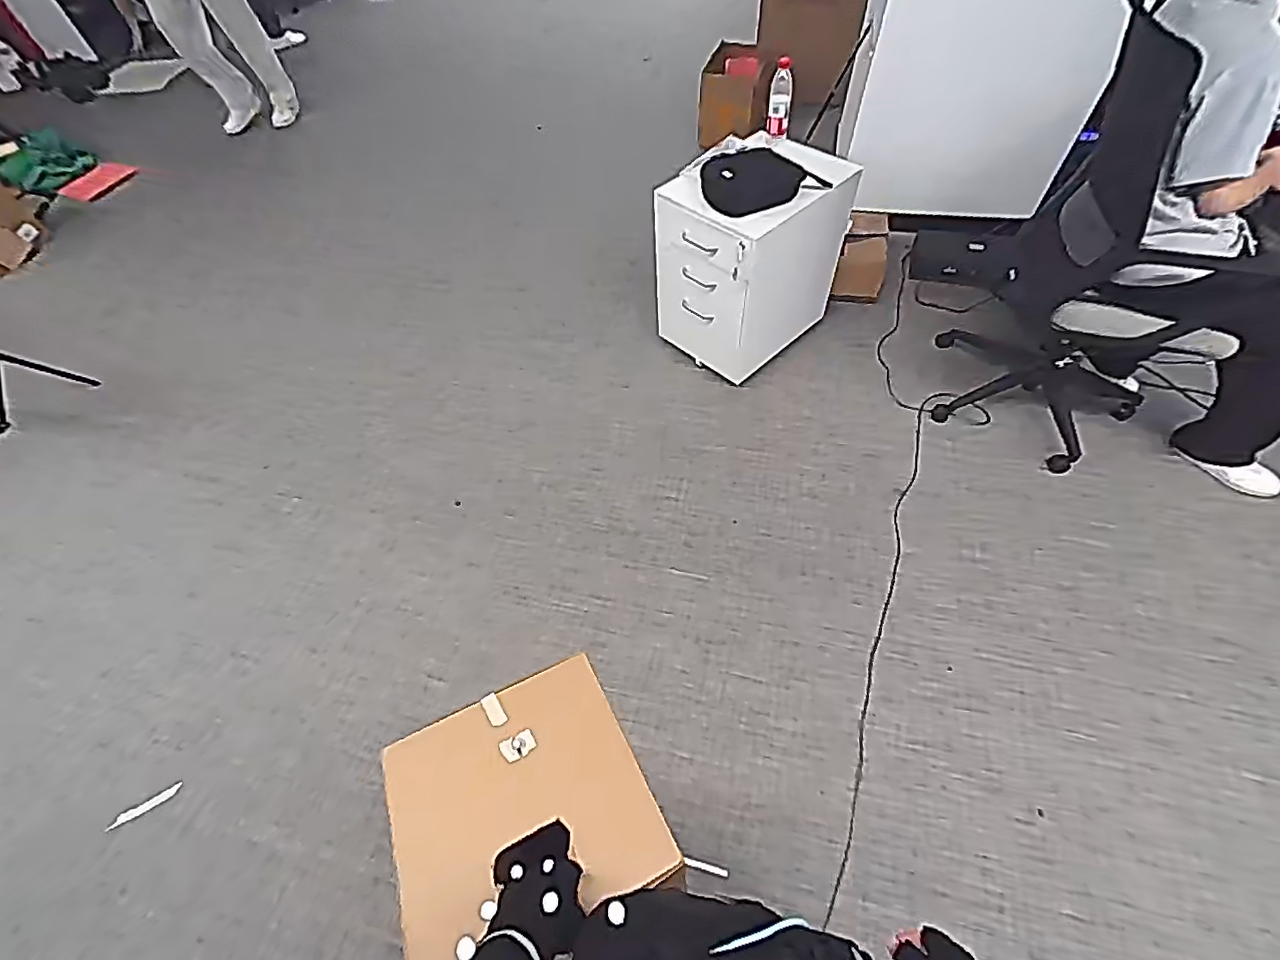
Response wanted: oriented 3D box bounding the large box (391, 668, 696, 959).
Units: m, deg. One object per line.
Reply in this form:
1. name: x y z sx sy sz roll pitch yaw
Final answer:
1. large box: -0.129 0.564 0.822 0.320 0.408 0.320 -22 45 -16
